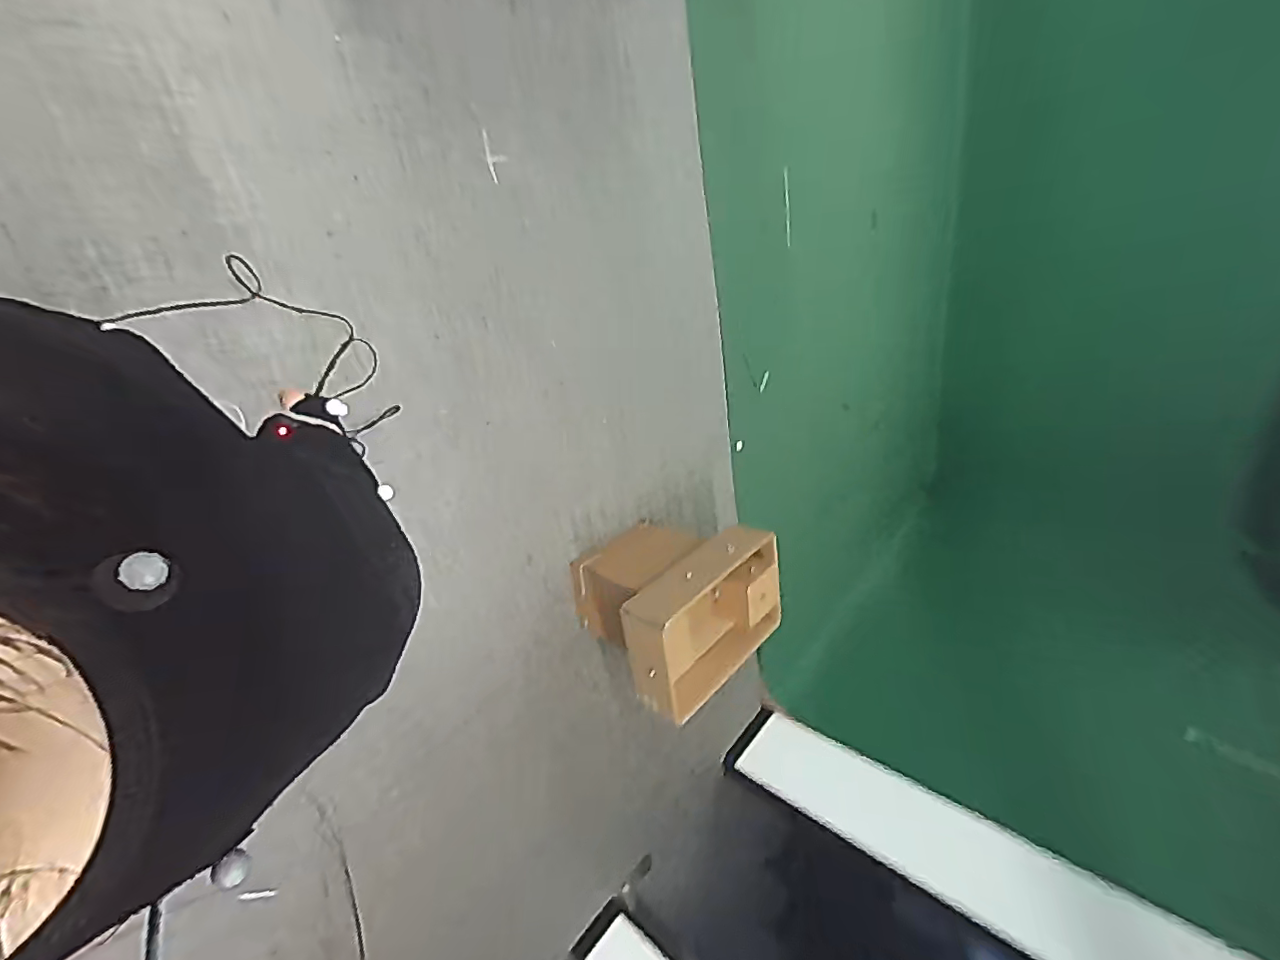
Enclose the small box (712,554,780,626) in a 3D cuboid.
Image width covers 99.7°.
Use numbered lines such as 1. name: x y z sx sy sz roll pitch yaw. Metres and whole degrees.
1. small box: 0.377 0.381 1.918 0.179 0.176 0.168 -29 119 -40
